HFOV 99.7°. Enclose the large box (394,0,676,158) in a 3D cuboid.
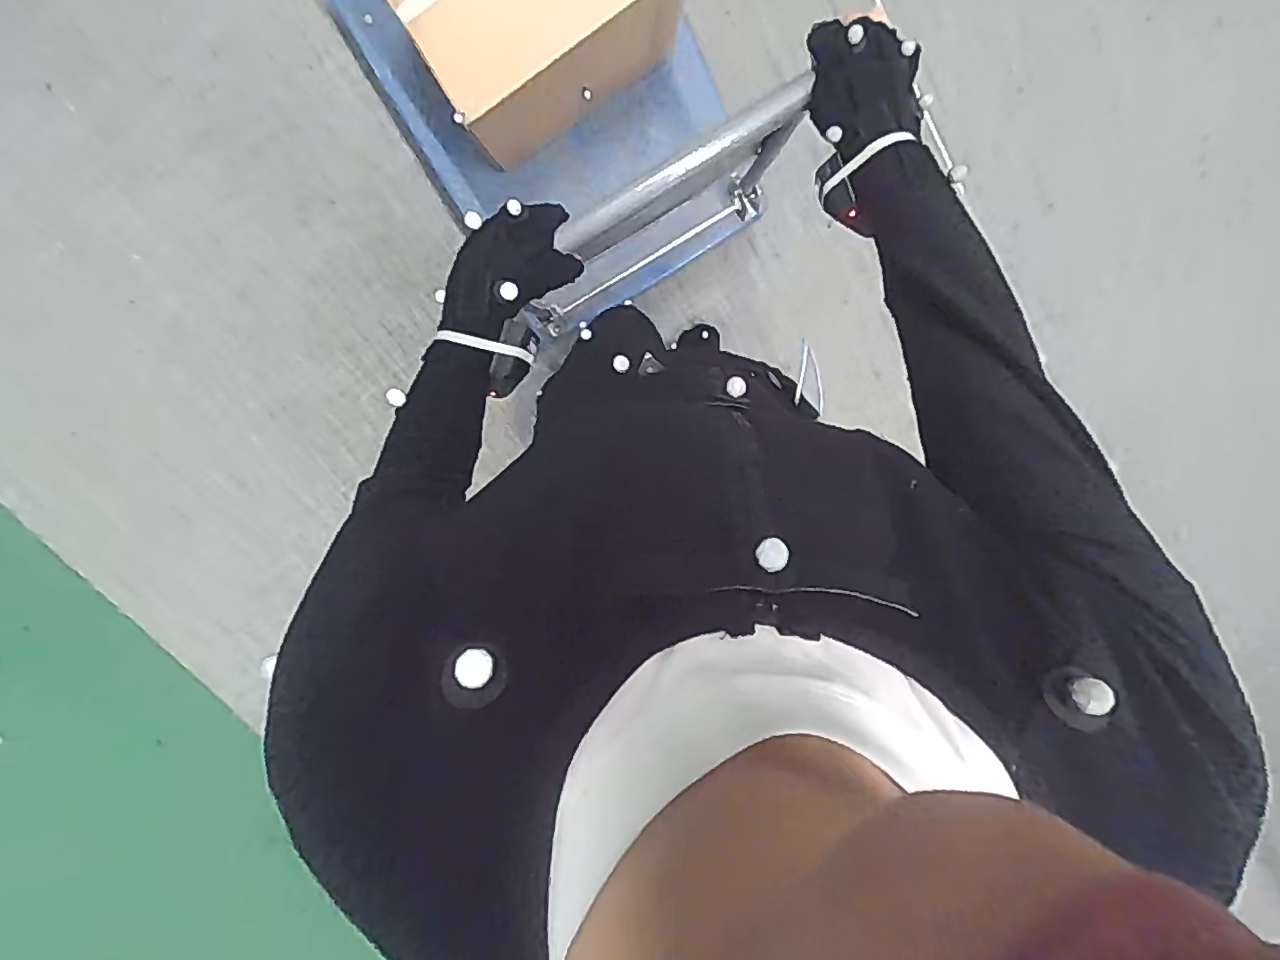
[{"bbox_3d":[-0.181,-0.828,0.896,0.408,0.320,0.320,-31,106,8],"label":"large box"}]
